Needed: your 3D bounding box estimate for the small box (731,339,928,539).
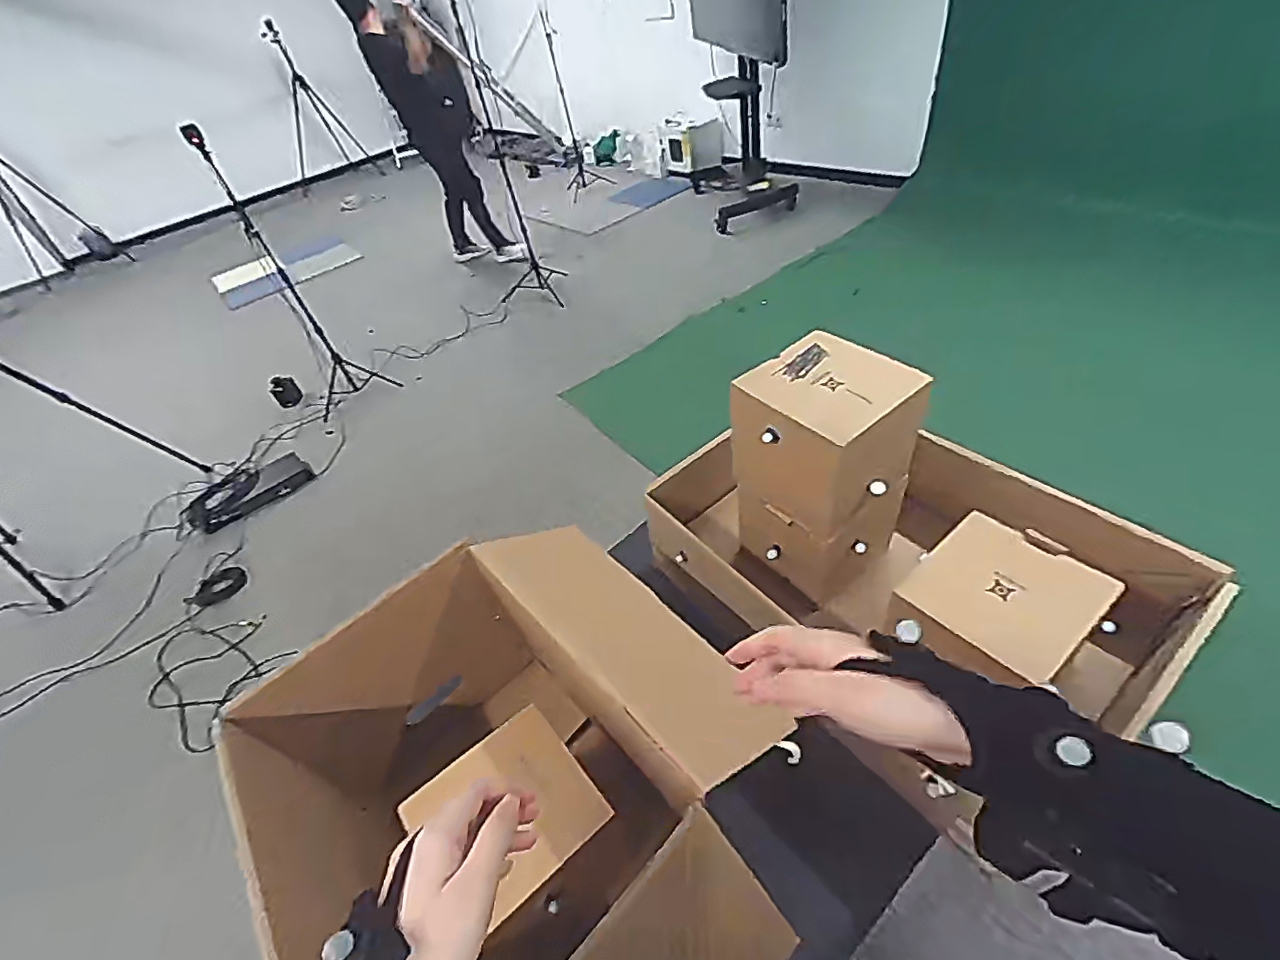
[{"bbox_3d":[0.239,-0.055,0.723,0.168,0.176,0.179,-33,50,-20],"label":"small box"}]
